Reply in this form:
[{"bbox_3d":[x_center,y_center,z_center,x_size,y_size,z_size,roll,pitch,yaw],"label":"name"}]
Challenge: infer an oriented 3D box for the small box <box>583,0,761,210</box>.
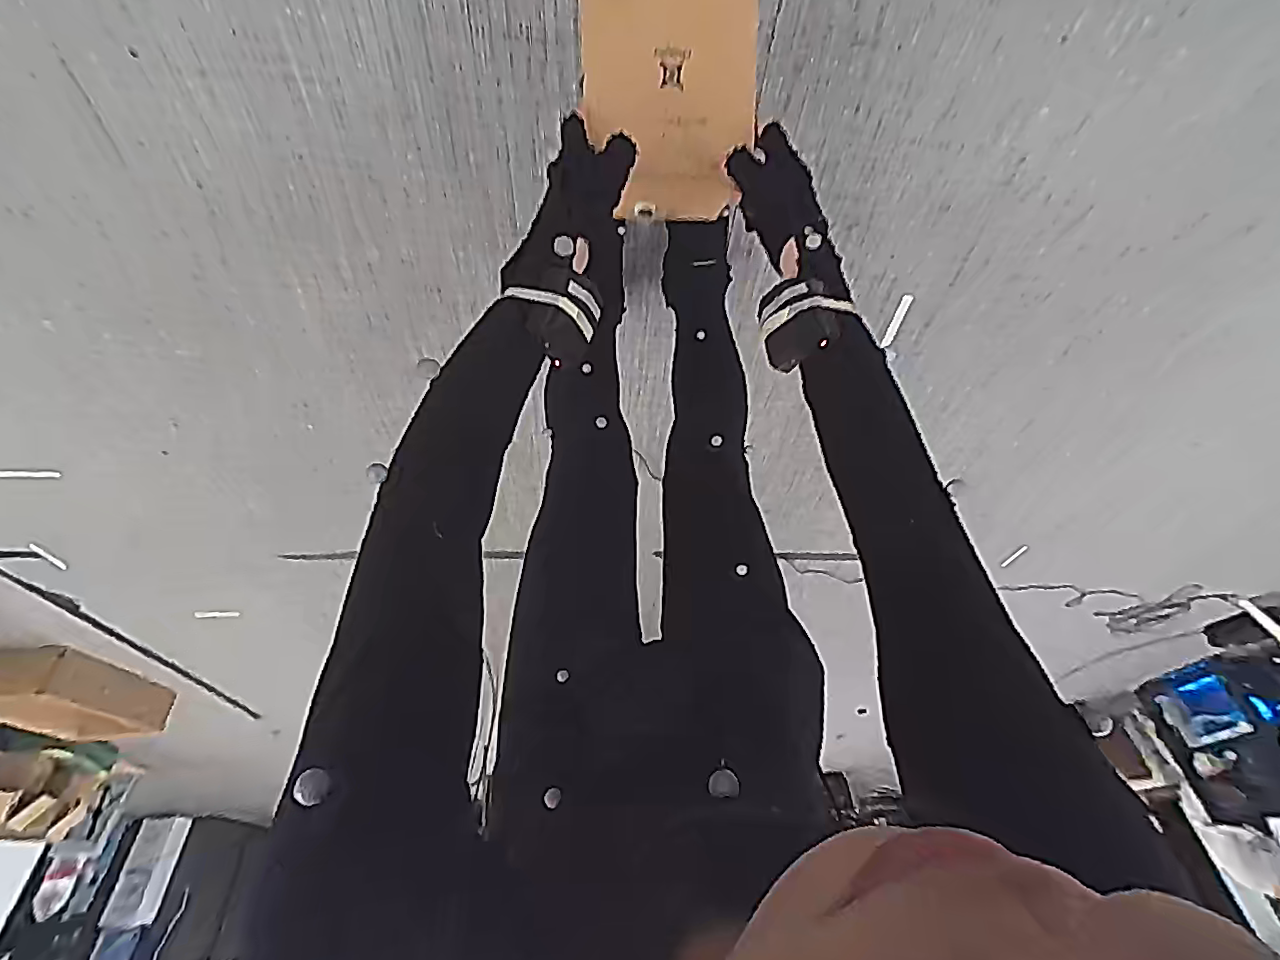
[{"bbox_3d":[0.023,-0.408,0.577,0.168,0.176,0.179,-2,102,-4],"label":"small box"}]
